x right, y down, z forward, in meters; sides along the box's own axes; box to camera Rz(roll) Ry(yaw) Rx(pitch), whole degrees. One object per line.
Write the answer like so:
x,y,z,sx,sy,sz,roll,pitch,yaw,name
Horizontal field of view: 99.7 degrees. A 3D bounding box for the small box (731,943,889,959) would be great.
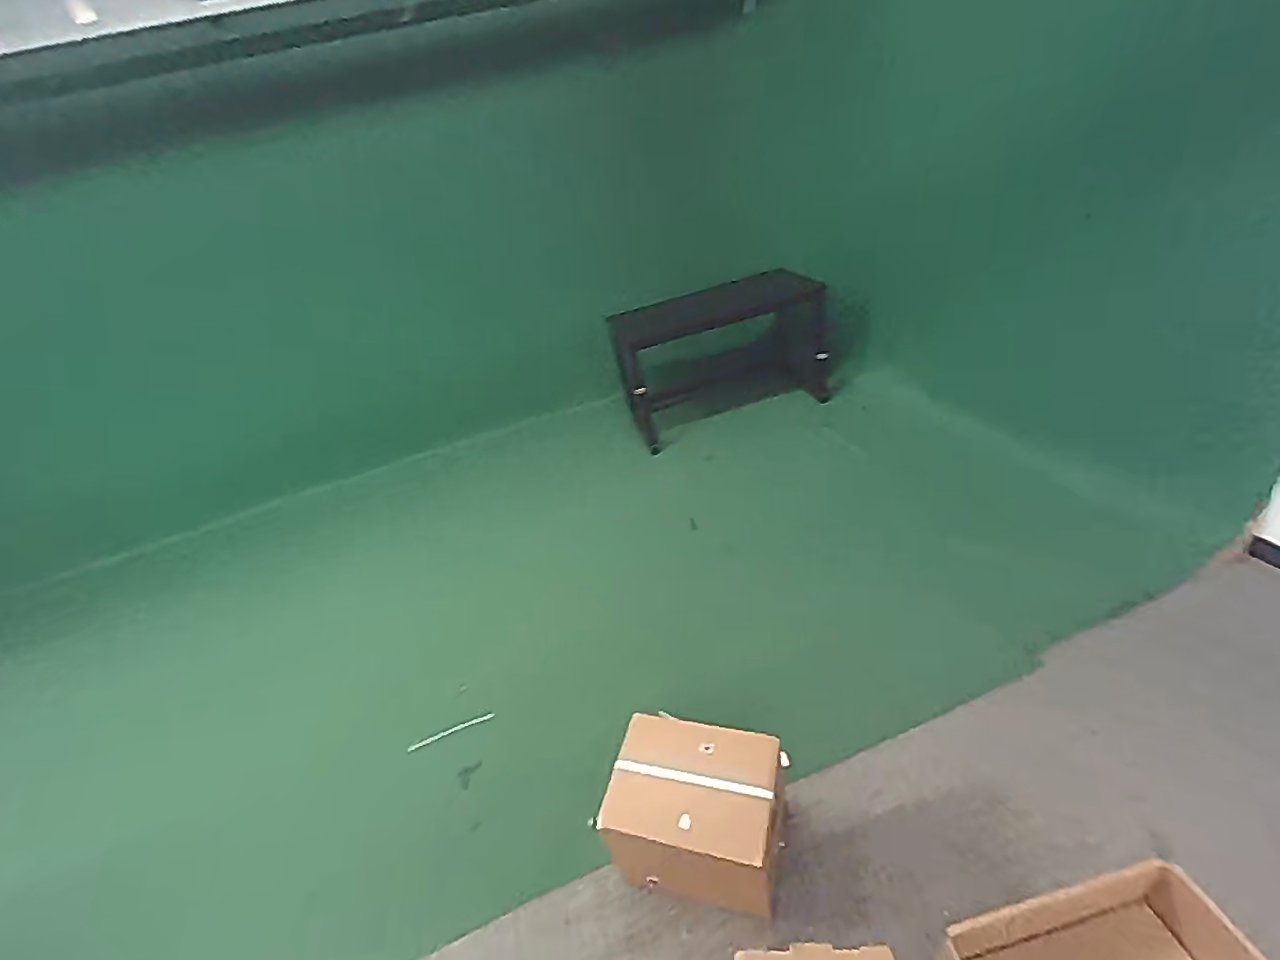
0.180,0.596,0.516,0.168,0.176,0.179,-5,19,3,small box
